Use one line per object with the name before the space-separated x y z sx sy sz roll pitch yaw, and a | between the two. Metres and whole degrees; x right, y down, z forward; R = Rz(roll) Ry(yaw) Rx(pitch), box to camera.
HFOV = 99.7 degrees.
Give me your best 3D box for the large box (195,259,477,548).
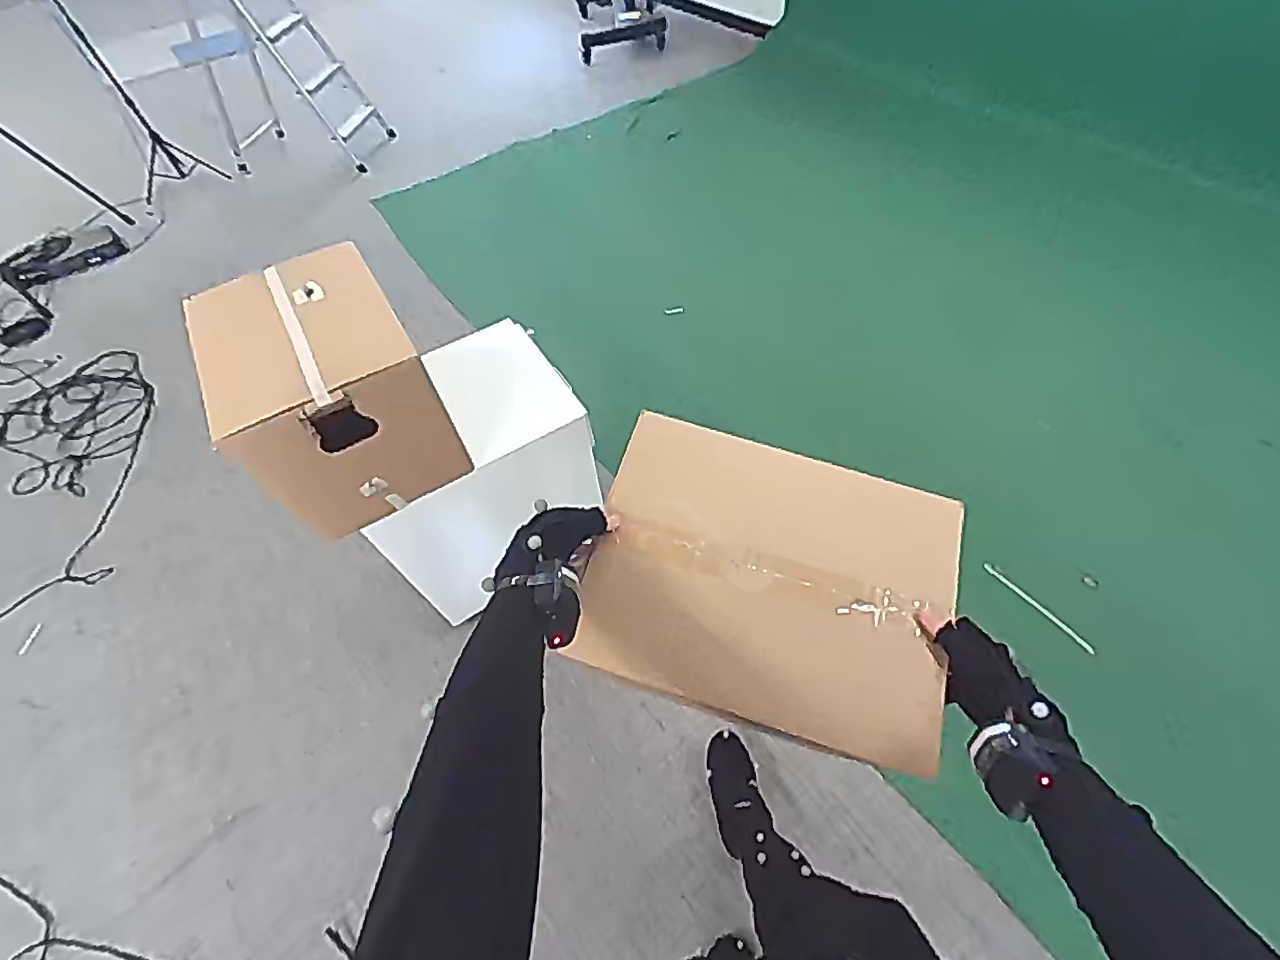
large box | -0.572 -0.150 1.048 0.320 0.320 0.408 -29 57 -16
